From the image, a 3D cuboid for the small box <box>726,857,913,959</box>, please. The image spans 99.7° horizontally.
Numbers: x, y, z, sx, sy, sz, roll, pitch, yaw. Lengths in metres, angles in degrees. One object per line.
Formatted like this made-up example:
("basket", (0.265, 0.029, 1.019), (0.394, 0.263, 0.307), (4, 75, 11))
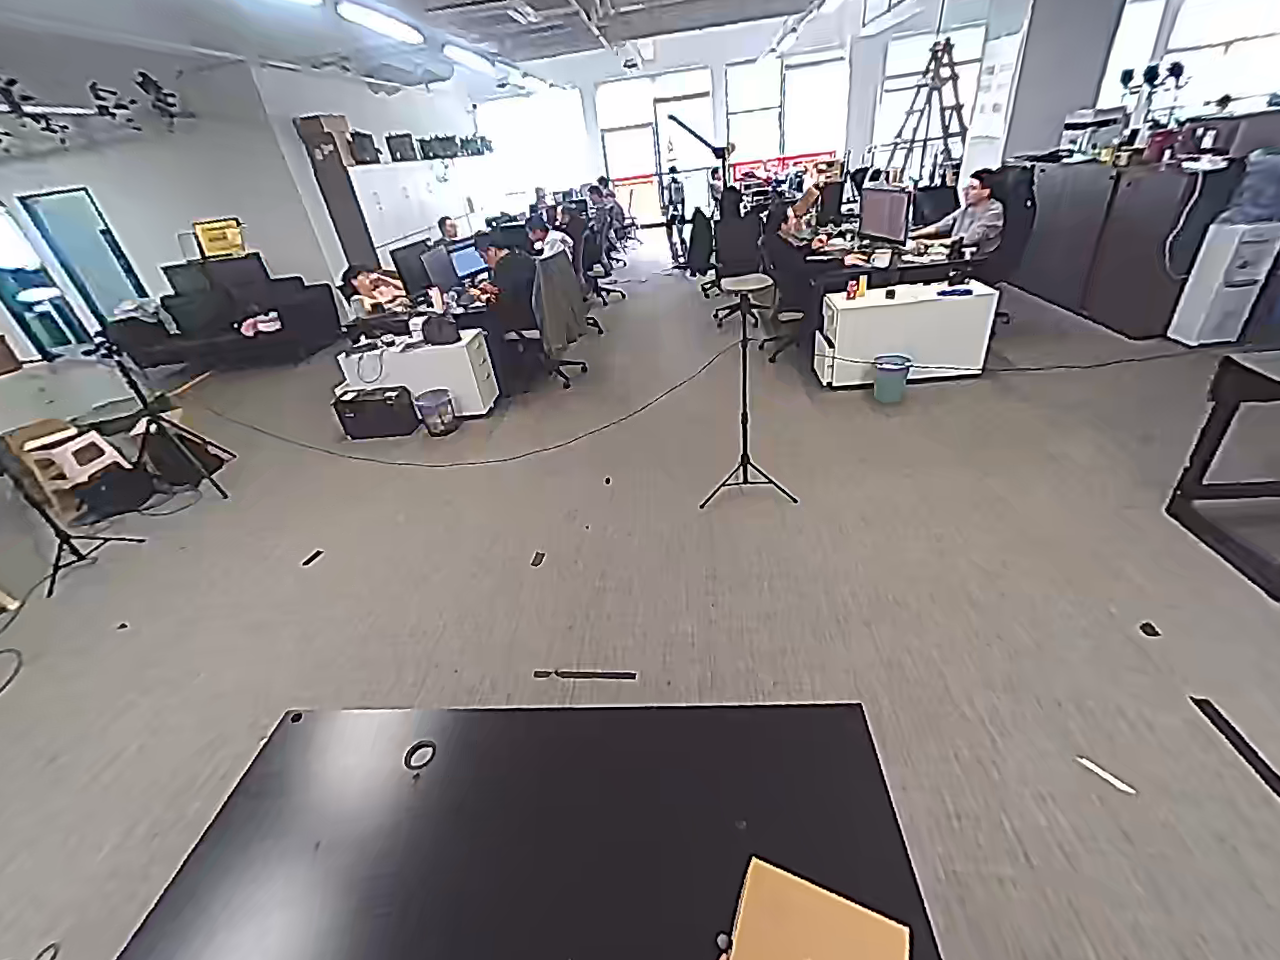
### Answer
("small box", (0.170, 0.548, 0.565), (0.168, 0.176, 0.179), (14, 43, 20))
